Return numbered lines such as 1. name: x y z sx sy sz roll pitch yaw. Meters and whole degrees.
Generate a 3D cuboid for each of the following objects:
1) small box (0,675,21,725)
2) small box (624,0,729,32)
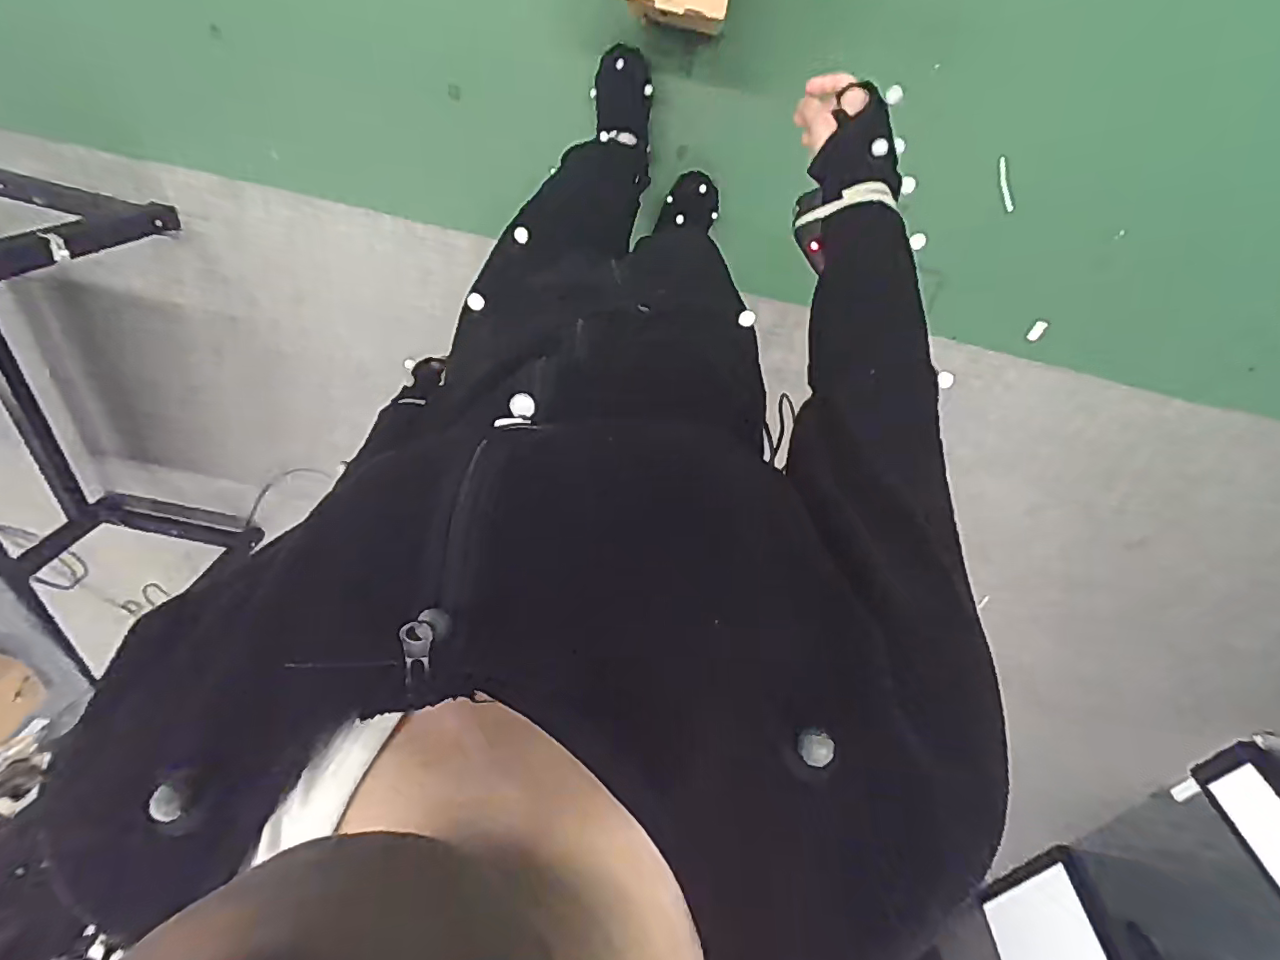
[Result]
1. small box: -1.568 0.519 1.196 0.179 0.176 0.168 15 126 -6
2. small box: 0.063 -0.797 0.798 0.168 0.176 0.179 11 126 -4
